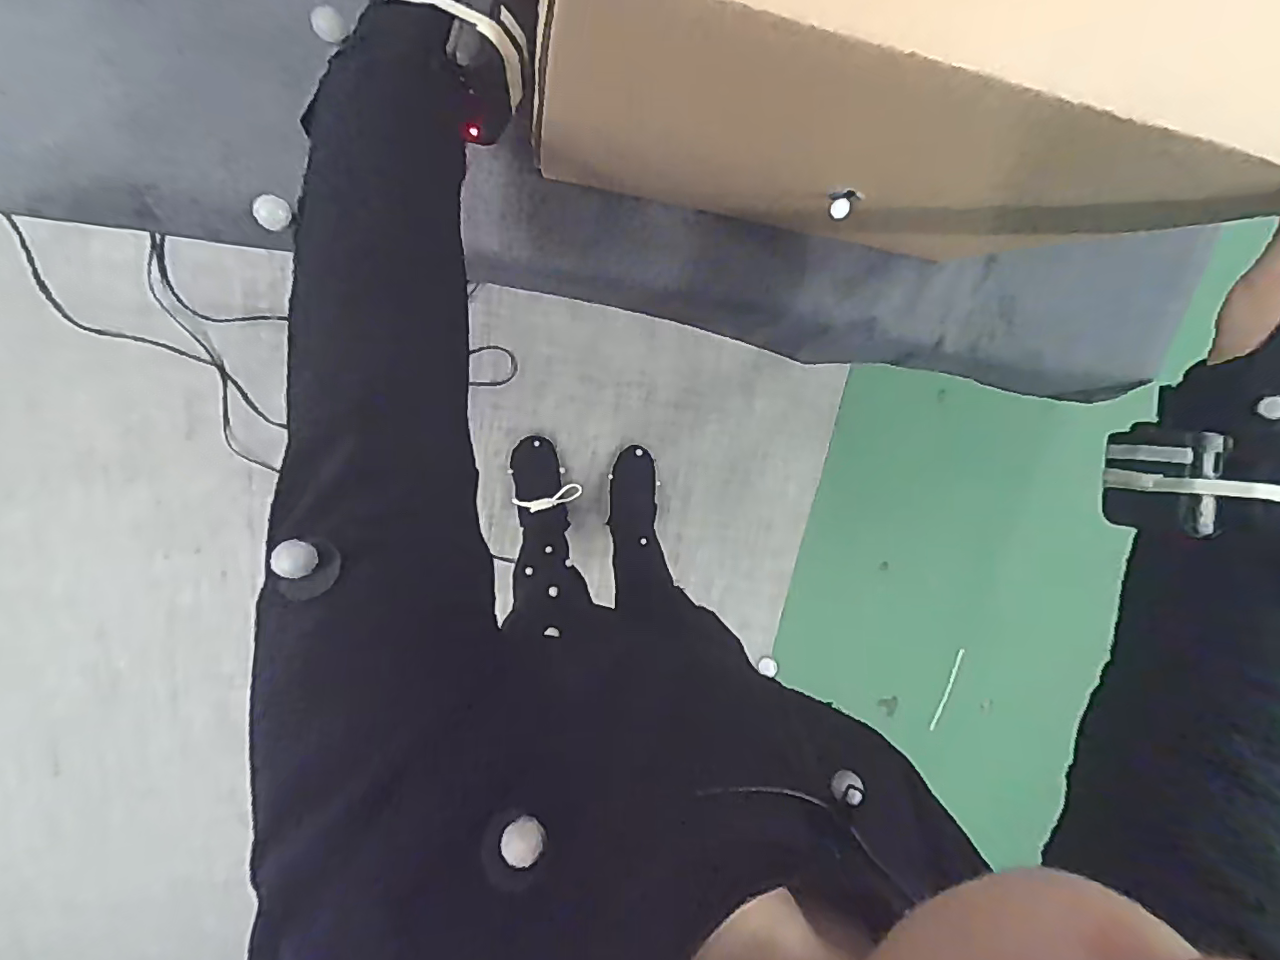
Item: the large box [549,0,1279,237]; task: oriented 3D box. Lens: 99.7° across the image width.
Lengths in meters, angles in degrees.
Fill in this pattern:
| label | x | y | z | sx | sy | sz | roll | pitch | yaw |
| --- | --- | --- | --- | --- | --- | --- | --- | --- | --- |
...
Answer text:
| label | x | y | z | sx | sy | sz | roll | pitch | yaw |
| --- | --- | --- | --- | --- | --- | --- | --- | --- | --- |
| large box | 0.161 | -0.351 | 0.327 | 0.408 | 0.320 | 0.320 | 4 | 106 | -12 |
